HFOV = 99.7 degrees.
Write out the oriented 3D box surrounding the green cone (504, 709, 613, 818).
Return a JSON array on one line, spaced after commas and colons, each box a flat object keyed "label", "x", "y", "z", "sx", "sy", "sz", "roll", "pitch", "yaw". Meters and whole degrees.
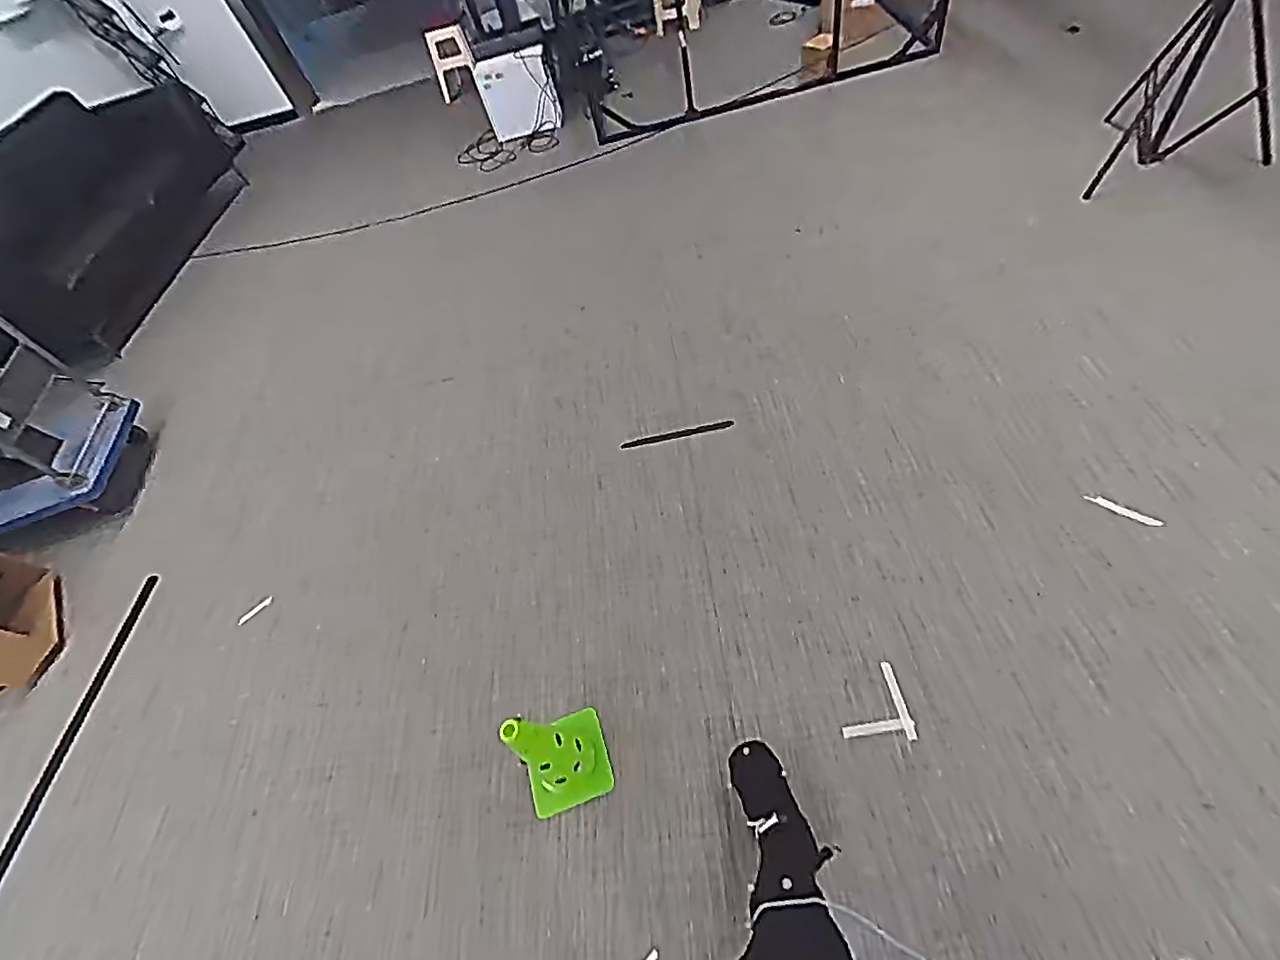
[{"label": "green cone", "x": -0.215, "y": 0.592, "z": 1.190, "sx": 0.202, "sy": 0.368, "sz": 0.200, "roll": -22, "pitch": 53, "yaw": -2}]
